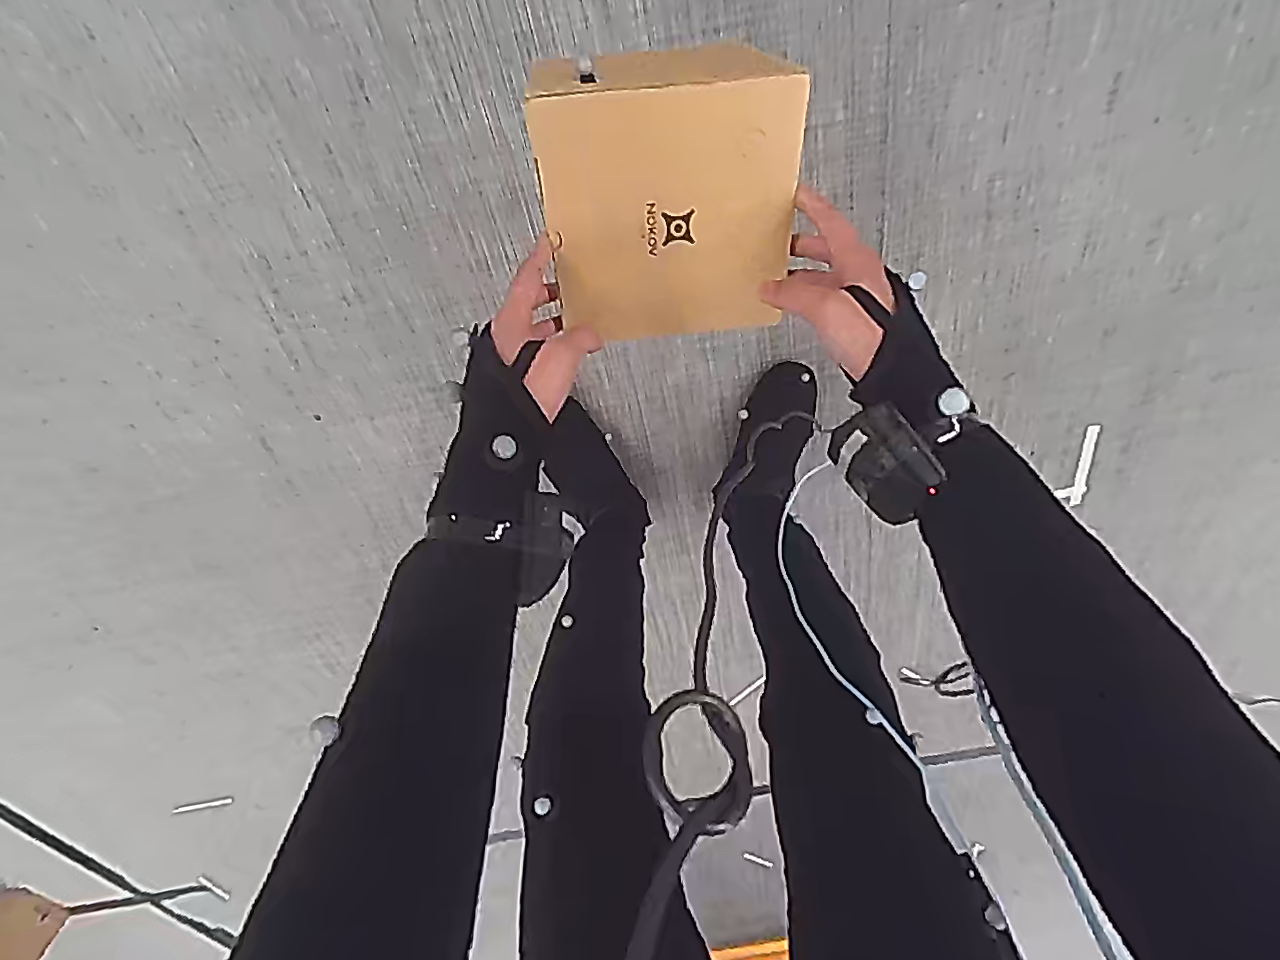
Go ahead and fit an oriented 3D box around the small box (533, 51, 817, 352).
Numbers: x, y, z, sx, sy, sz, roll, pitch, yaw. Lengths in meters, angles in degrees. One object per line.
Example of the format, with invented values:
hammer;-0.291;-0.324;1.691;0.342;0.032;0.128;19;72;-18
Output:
small box;0.017;-0.224;0.432;0.179;0.176;0.168;-6;134;-1
